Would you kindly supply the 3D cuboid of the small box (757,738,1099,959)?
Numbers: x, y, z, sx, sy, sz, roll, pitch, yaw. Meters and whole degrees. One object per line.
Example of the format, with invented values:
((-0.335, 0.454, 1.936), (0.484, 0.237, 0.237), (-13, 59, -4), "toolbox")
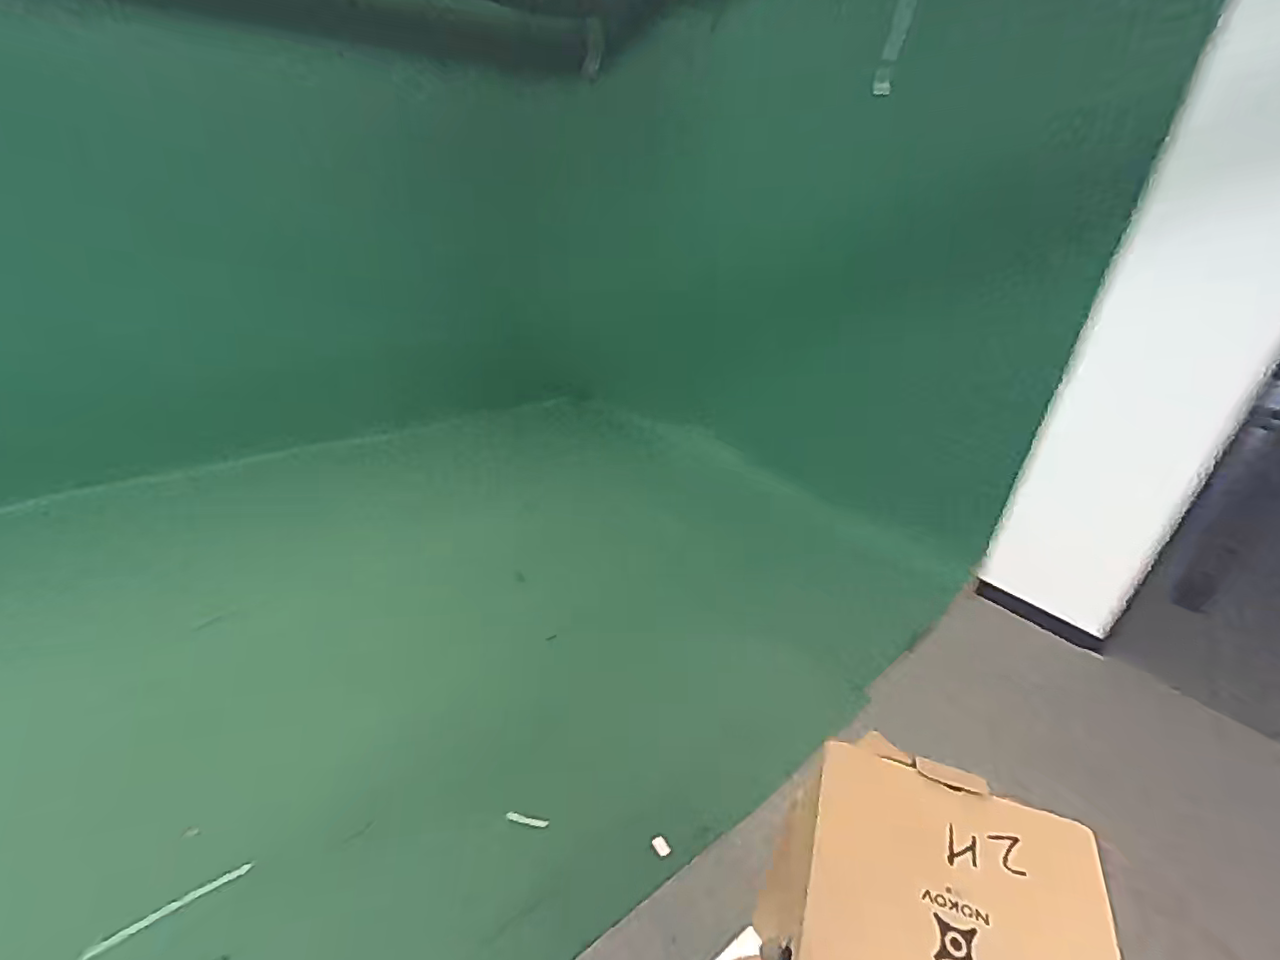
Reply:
((0.176, 0.320, 0.366), (0.168, 0.176, 0.179), (13, 43, 16), "small box")
